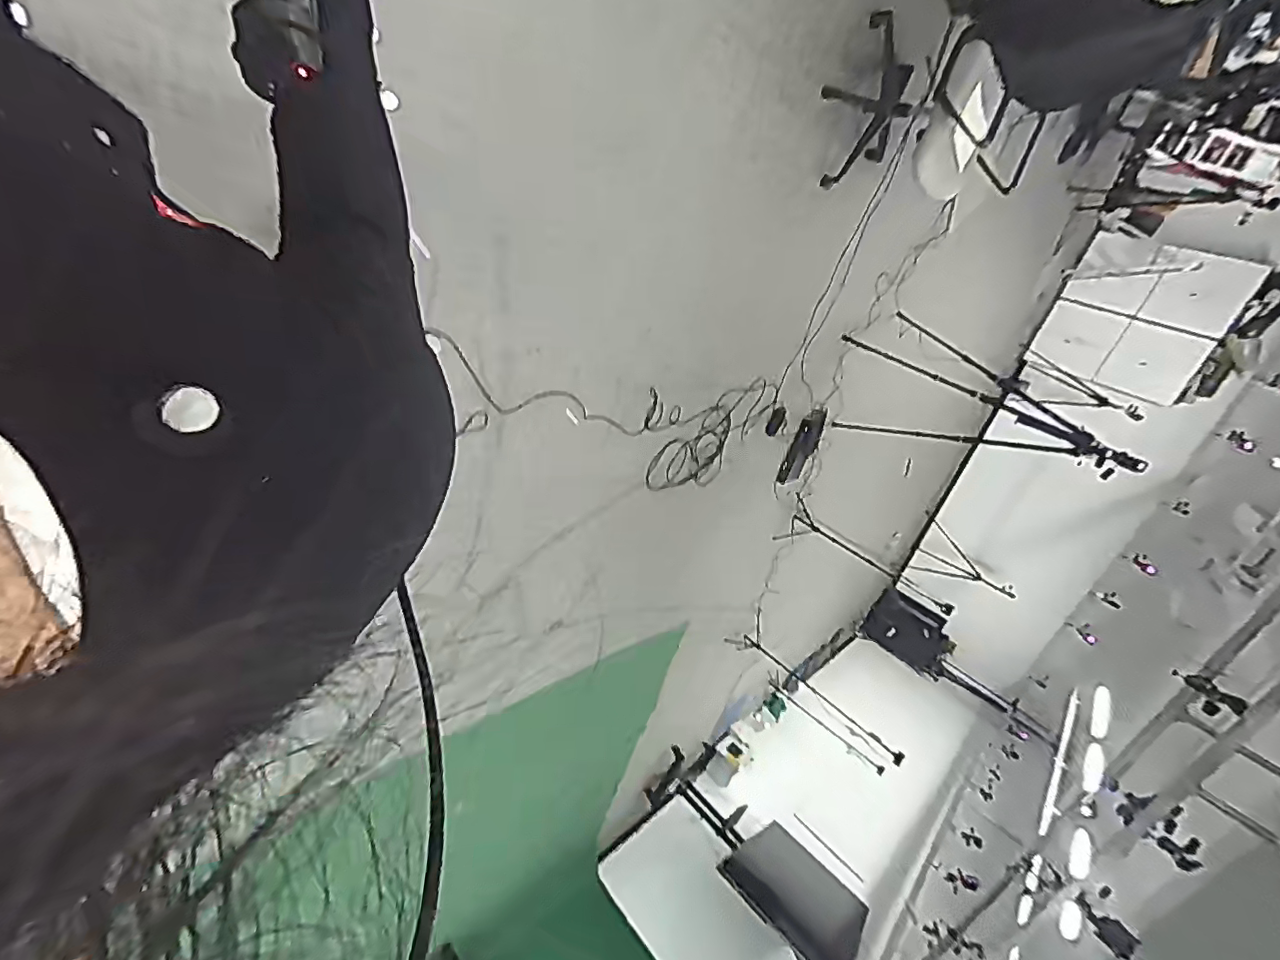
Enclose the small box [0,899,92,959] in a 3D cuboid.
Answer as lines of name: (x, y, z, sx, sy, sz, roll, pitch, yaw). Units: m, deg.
small box: (-1.672, 1.345, 1.517, 0.179, 0.176, 0.168, -9, 124, -47)
